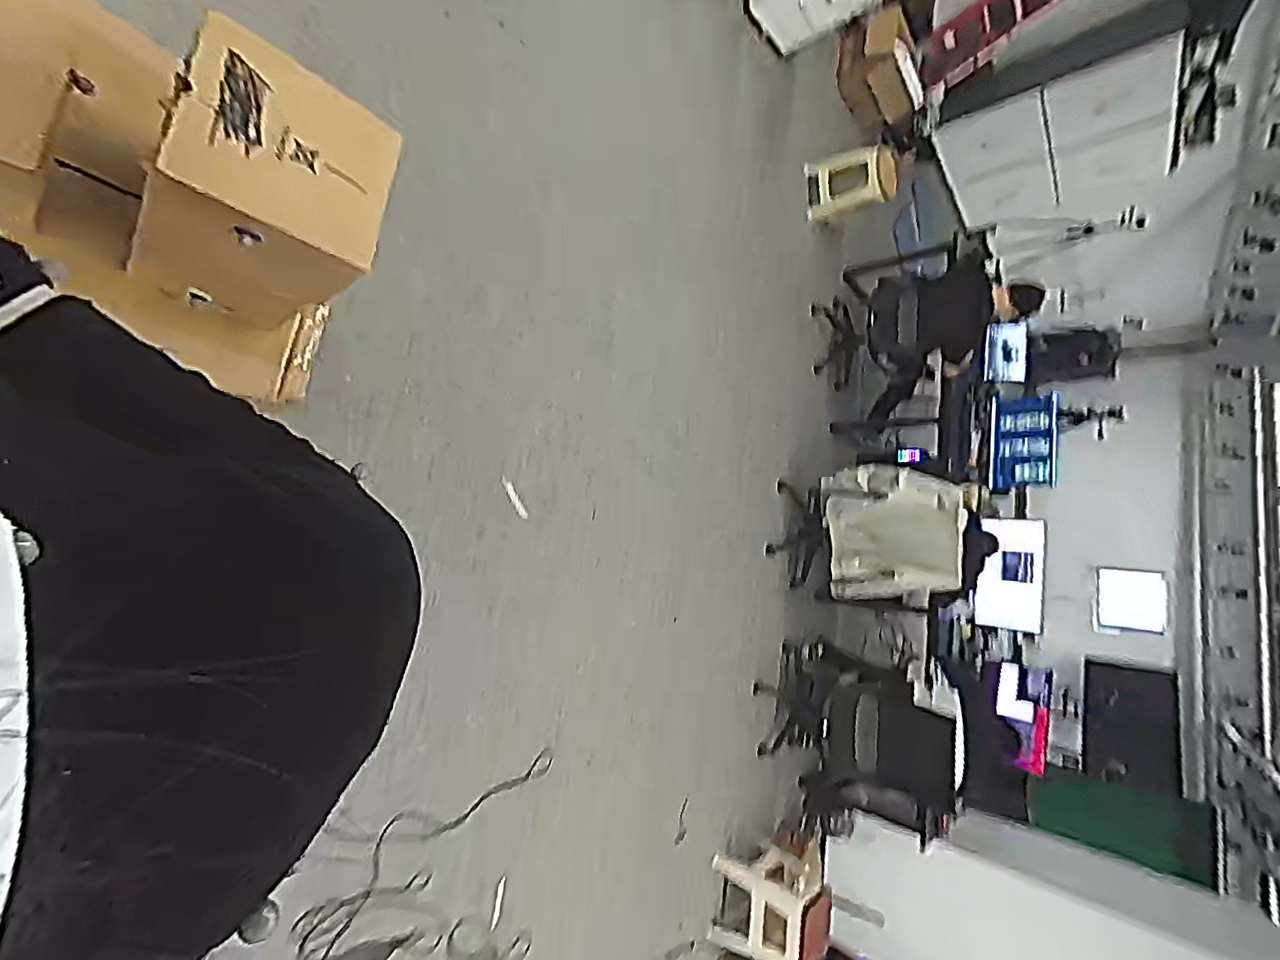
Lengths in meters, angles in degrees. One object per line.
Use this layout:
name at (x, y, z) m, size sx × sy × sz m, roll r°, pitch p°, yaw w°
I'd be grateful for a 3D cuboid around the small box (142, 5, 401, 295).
small box at (-0.389, -0.319, 0.572) m, size 0.179 × 0.176 × 0.168 m, roll 19°, pitch 77°, yaw -45°

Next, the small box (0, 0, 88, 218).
small box at (-0.665, -0.388, 0.509) m, size 0.168 × 0.176 × 0.179 m, roll 17°, pitch 78°, yaw -48°

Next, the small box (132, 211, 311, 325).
small box at (-0.510, -0.321, 0.684) m, size 0.168 × 0.176 × 0.179 m, roll 18°, pitch 78°, yaw -44°
